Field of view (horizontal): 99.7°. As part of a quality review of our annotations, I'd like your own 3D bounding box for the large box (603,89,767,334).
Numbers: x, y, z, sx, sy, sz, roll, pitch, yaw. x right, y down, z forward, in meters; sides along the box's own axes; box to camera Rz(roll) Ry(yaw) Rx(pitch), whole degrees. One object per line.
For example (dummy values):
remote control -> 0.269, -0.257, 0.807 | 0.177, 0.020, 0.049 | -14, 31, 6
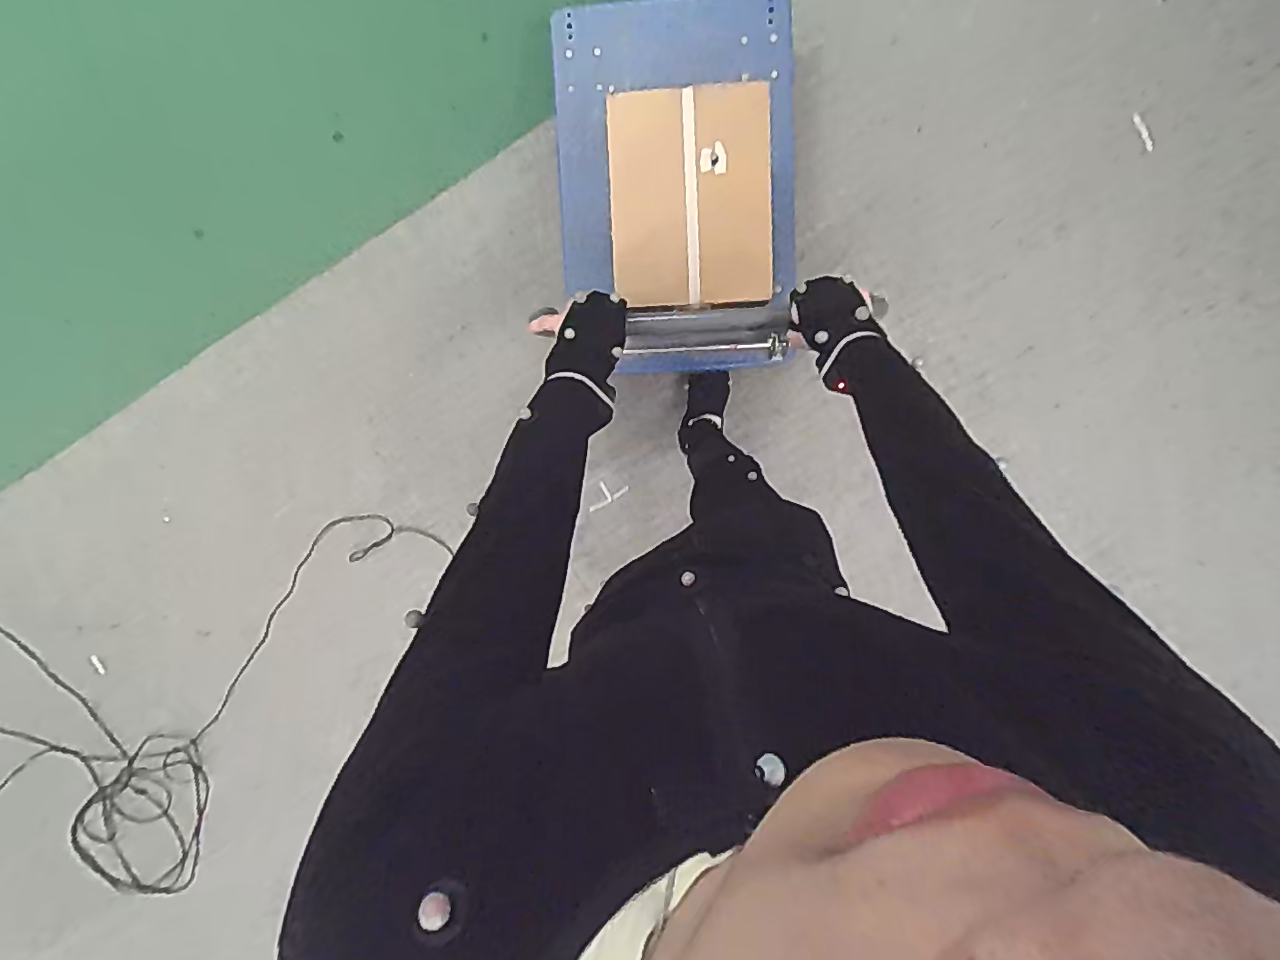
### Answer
large box -> 0.098, -0.566, 1.218 | 0.320, 0.320, 0.408 | -2, 95, 2
